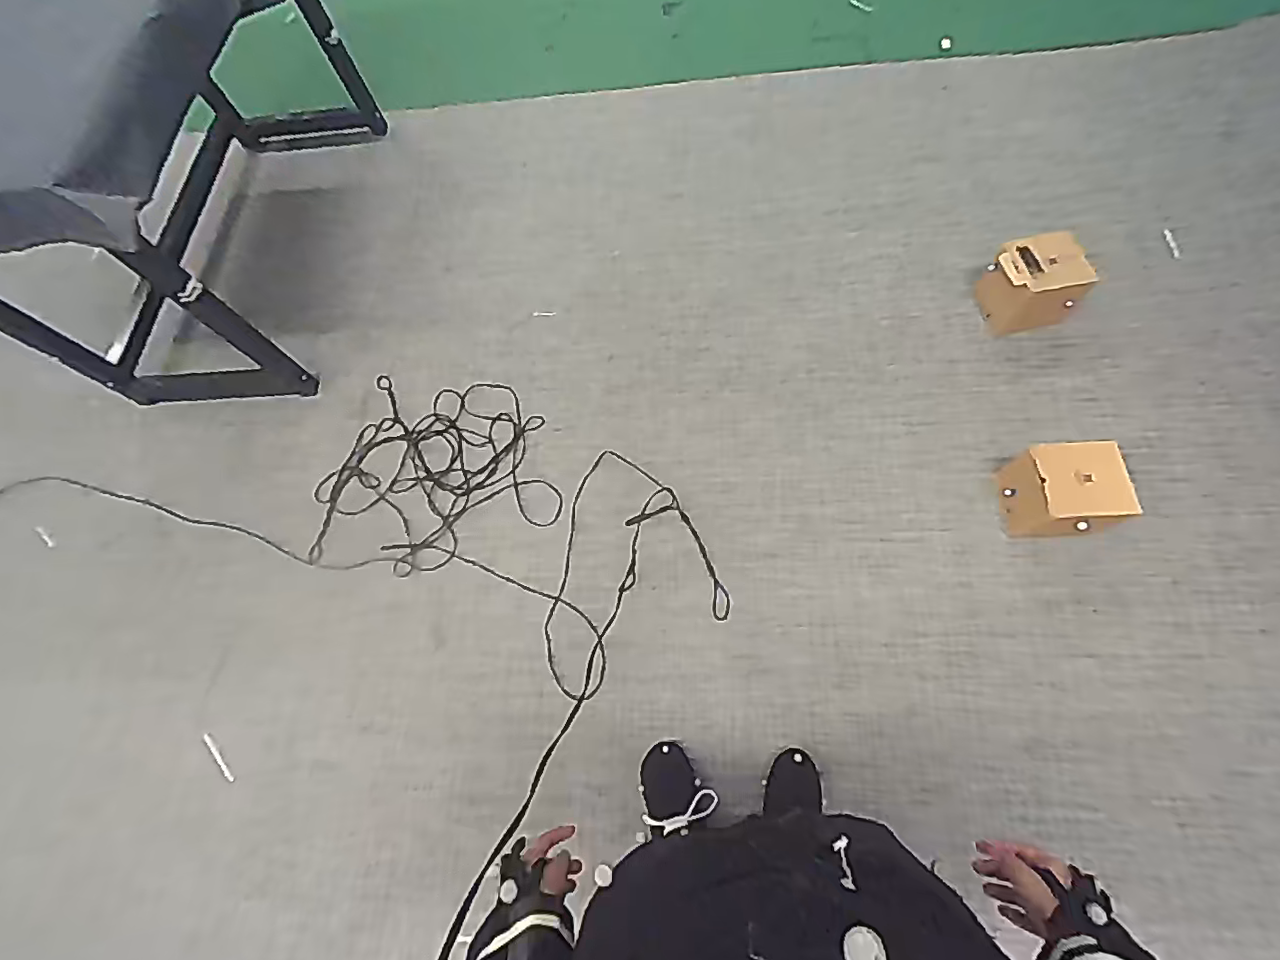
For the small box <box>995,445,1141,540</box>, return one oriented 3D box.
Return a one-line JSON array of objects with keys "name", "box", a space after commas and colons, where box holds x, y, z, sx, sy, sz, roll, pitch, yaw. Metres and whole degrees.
[{"name": "small box", "box": [0.940, 0.033, 1.206, 0.179, 0.176, 0.168, -3, 68, 5]}]
